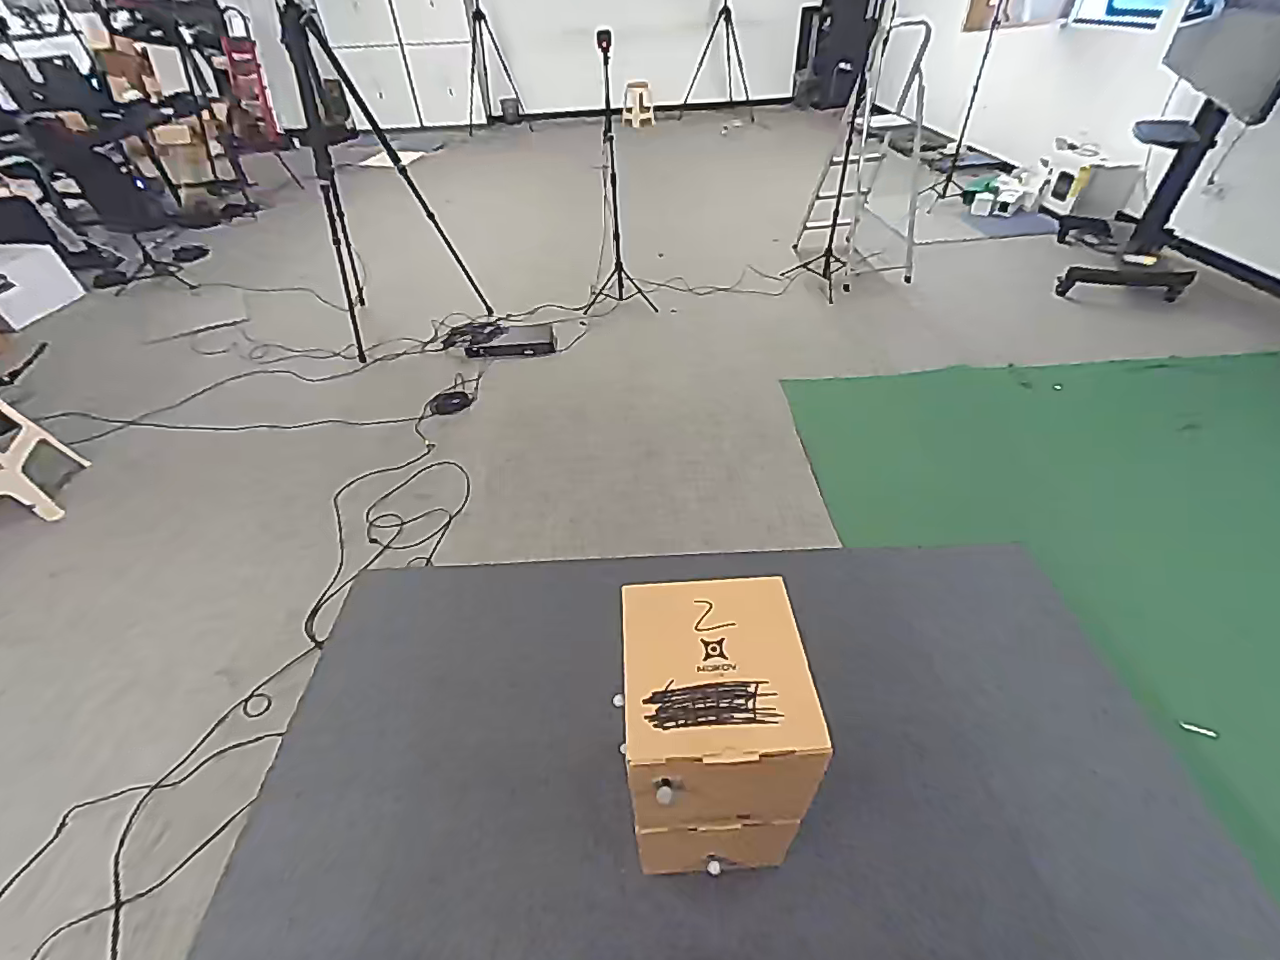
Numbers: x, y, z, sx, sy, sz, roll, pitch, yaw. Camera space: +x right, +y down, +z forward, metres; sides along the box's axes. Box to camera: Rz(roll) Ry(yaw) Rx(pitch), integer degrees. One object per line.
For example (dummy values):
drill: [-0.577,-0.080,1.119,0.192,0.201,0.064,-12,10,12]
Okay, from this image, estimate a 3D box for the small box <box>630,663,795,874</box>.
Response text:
small box: [0.073,0.347,0.655,0.168,0.176,0.179,-4,43,-1]
